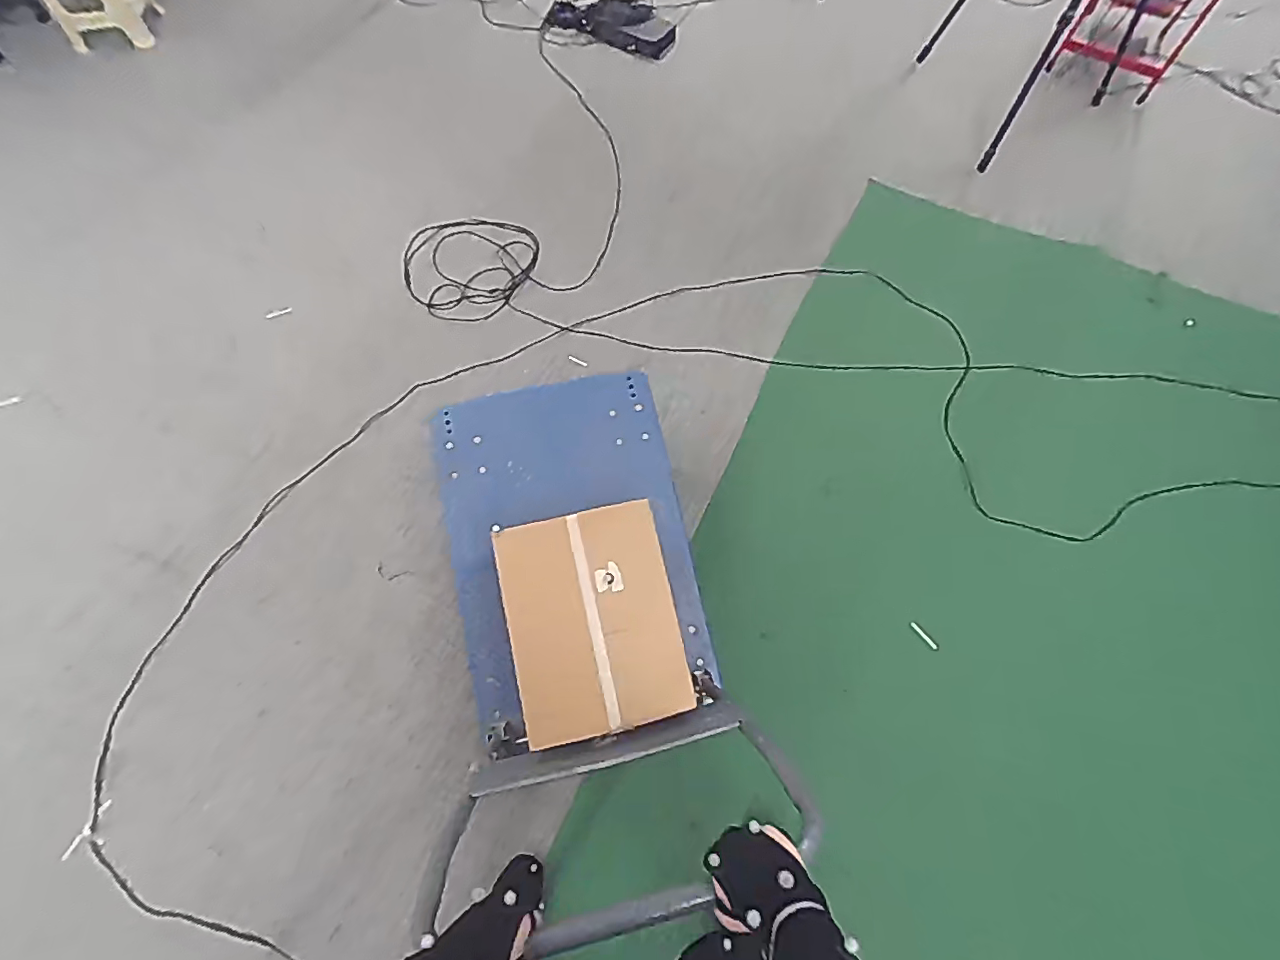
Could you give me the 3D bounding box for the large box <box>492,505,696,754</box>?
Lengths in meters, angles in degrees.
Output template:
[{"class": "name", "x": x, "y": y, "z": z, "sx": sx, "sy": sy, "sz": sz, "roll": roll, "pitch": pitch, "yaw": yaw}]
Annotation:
[{"class": "large box", "x": -0.099, "y": 0.303, "z": 1.163, "sx": 0.320, "sy": 0.320, "sz": 0.408, "roll": -12, "pitch": 78, "yaw": -8}]
